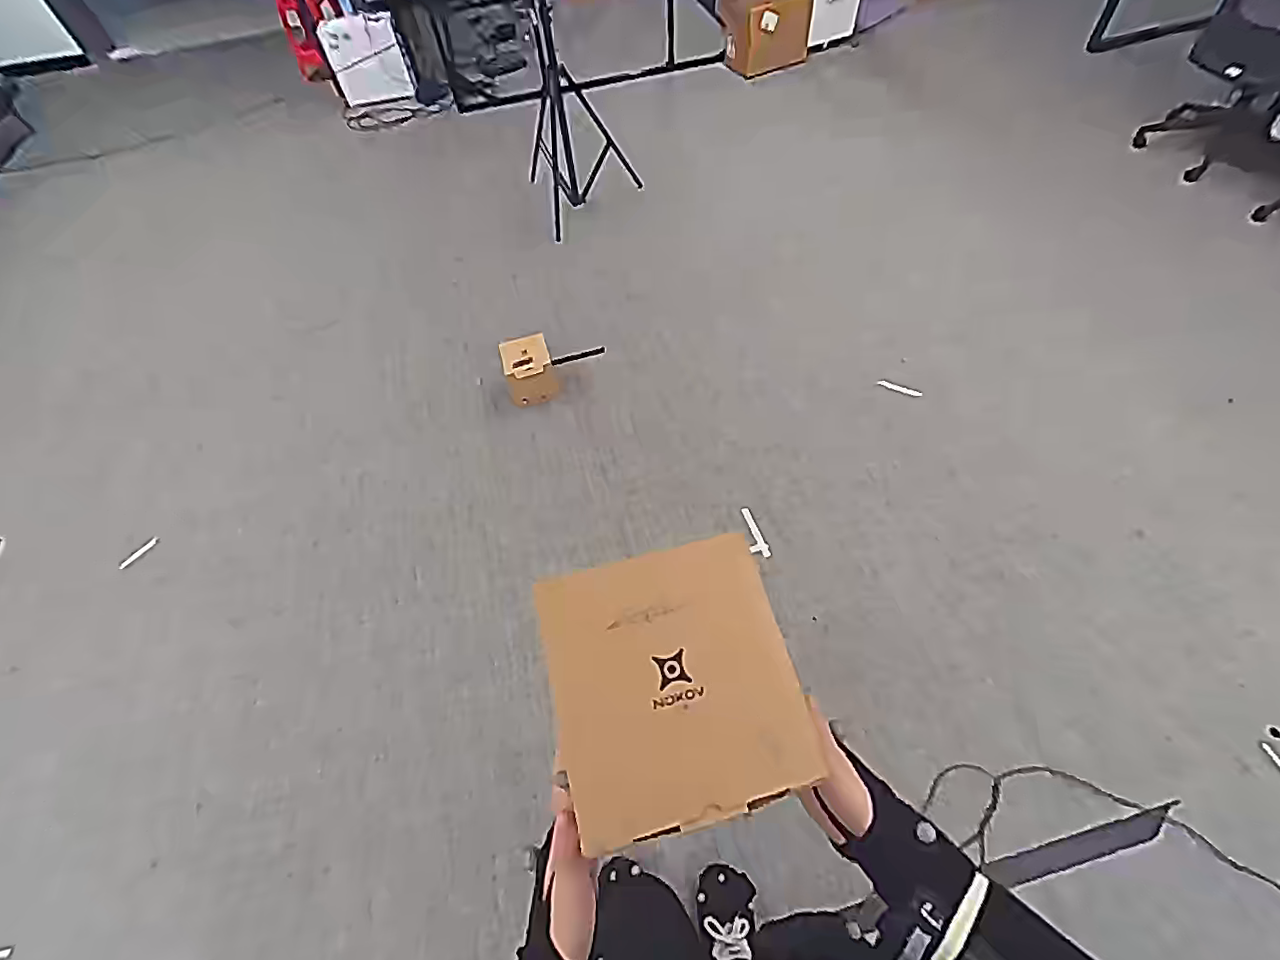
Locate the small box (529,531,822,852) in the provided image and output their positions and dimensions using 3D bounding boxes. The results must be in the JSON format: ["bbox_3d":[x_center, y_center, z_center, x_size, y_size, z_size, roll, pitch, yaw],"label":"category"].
[{"bbox_3d":[0.016,0.166,0.443,0.168,0.176,0.179,-13,65,-9],"label":"small box"}]

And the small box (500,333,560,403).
[{"bbox_3d":[-0.401,-0.403,1.985,0.168,0.176,0.179,-17,56,-6],"label":"small box"}]
